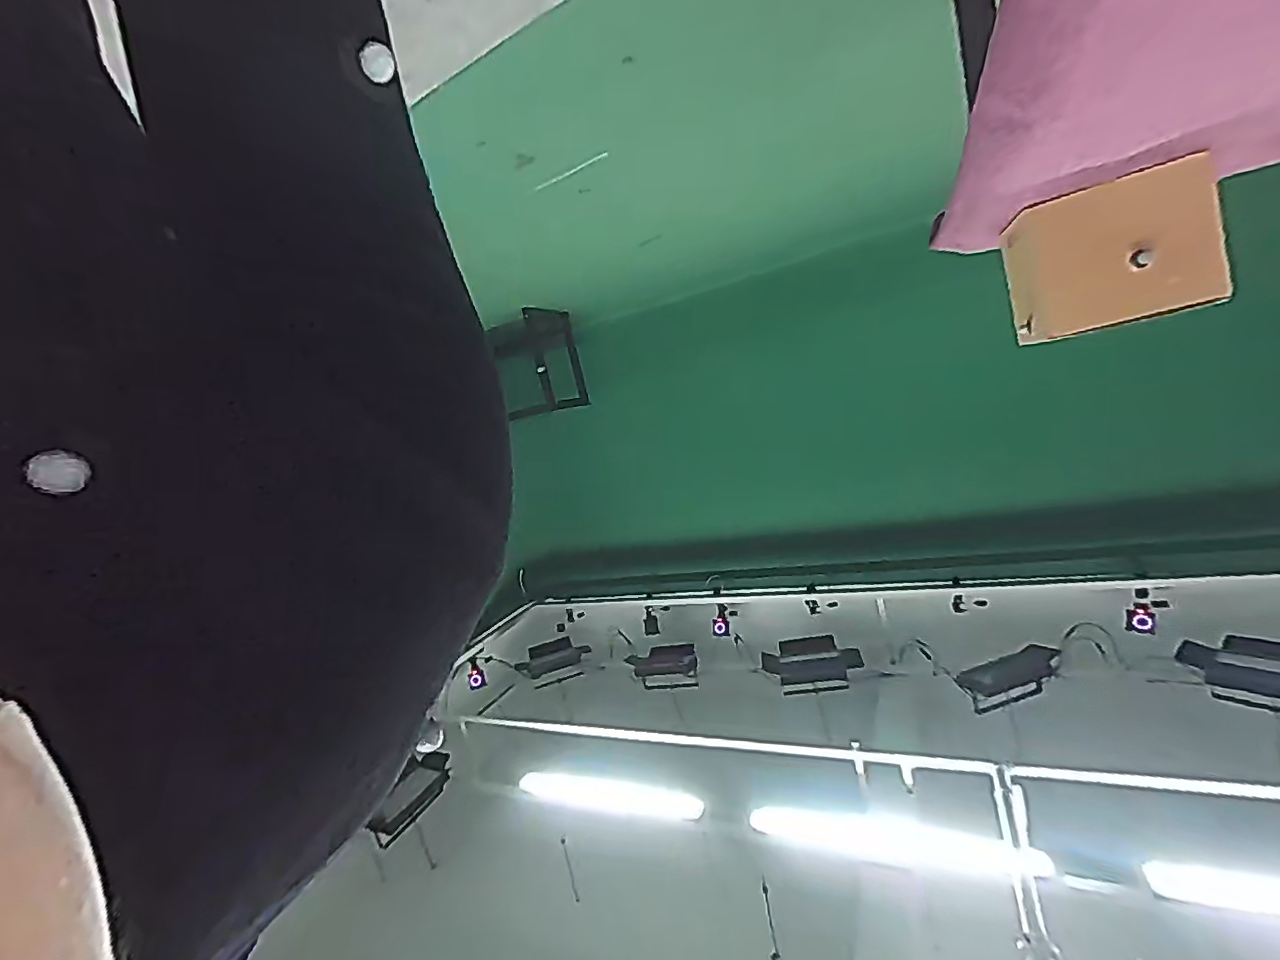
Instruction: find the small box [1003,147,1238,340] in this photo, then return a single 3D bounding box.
[{"bbox_3d":[0.604,-0.294,0.704,0.179,0.176,0.168,-13,-175,26],"label":"small box"}]
